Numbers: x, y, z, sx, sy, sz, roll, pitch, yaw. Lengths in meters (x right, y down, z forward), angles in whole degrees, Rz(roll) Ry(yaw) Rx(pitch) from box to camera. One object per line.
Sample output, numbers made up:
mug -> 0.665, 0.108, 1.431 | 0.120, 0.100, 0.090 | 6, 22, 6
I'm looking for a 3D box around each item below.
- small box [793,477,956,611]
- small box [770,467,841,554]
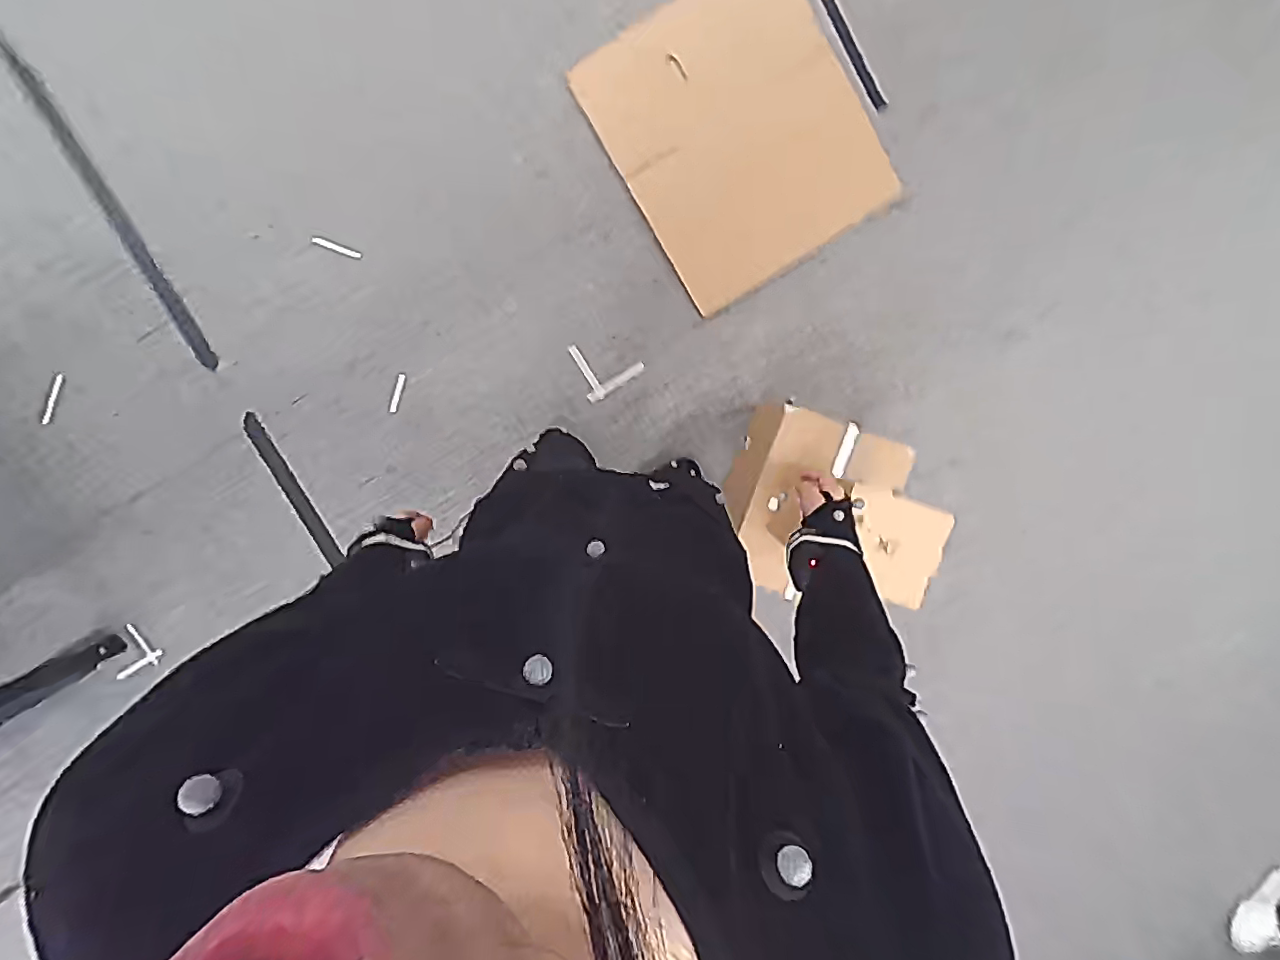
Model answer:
small box -> 0.395, 0.100, 0.942 | 0.179, 0.176, 0.168 | 19, 96, -4
small box -> 0.390, 0.078, 1.105 | 0.179, 0.176, 0.168 | 19, 97, -2
